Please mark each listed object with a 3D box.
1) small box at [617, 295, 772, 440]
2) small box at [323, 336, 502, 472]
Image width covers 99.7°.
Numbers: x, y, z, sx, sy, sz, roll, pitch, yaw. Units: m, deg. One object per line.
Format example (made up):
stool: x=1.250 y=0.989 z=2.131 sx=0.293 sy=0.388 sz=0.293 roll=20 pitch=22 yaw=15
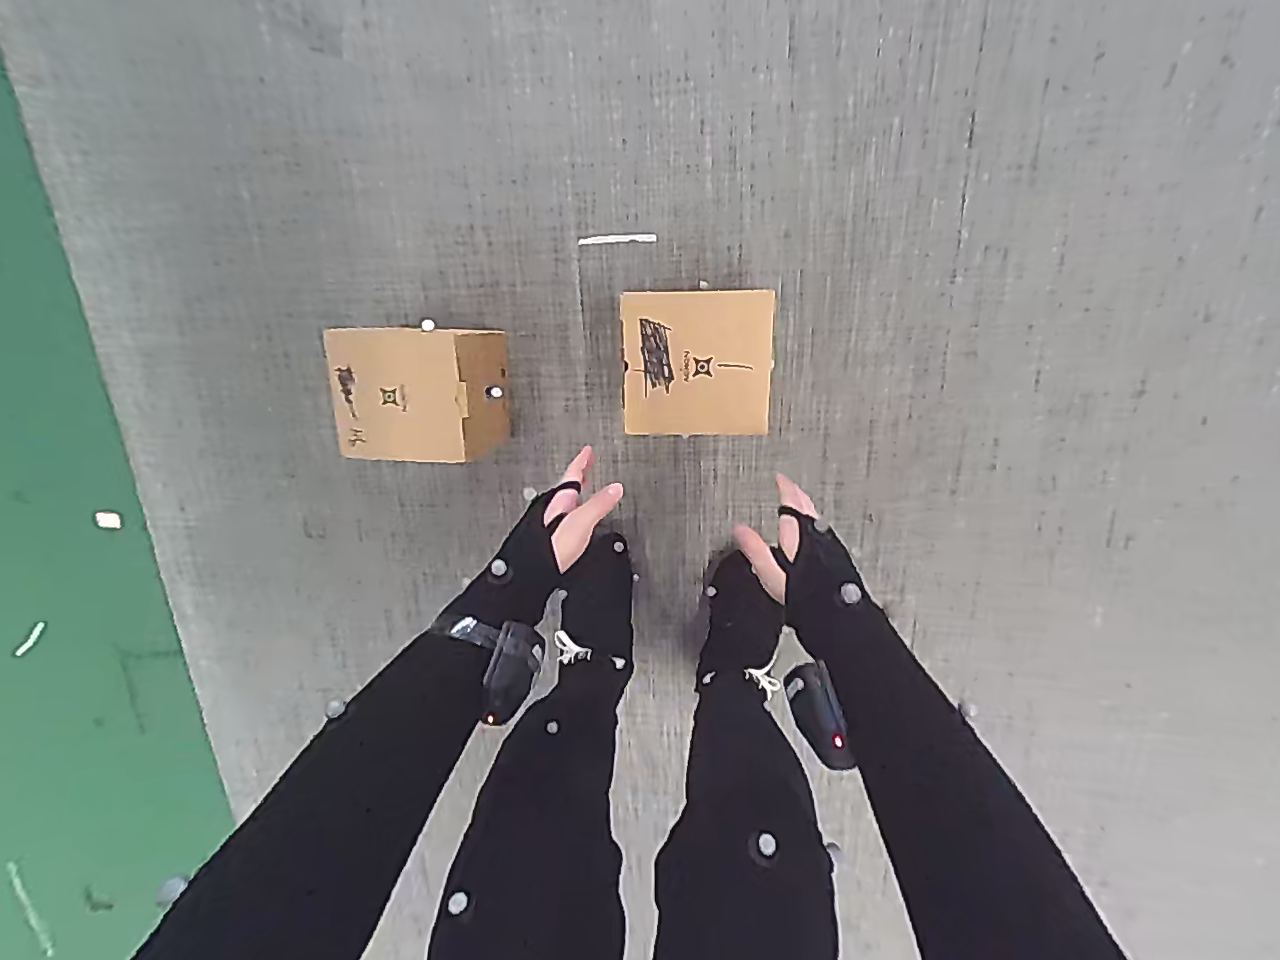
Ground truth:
small box: x=0.069 y=-0.148 z=0.703 sx=0.179 sy=0.176 sz=0.168 roll=1 pitch=106 yaw=6
small box: x=-0.300 y=-0.113 z=0.758 sx=0.179 sy=0.176 sz=0.168 roll=2 pitch=105 yaw=5
